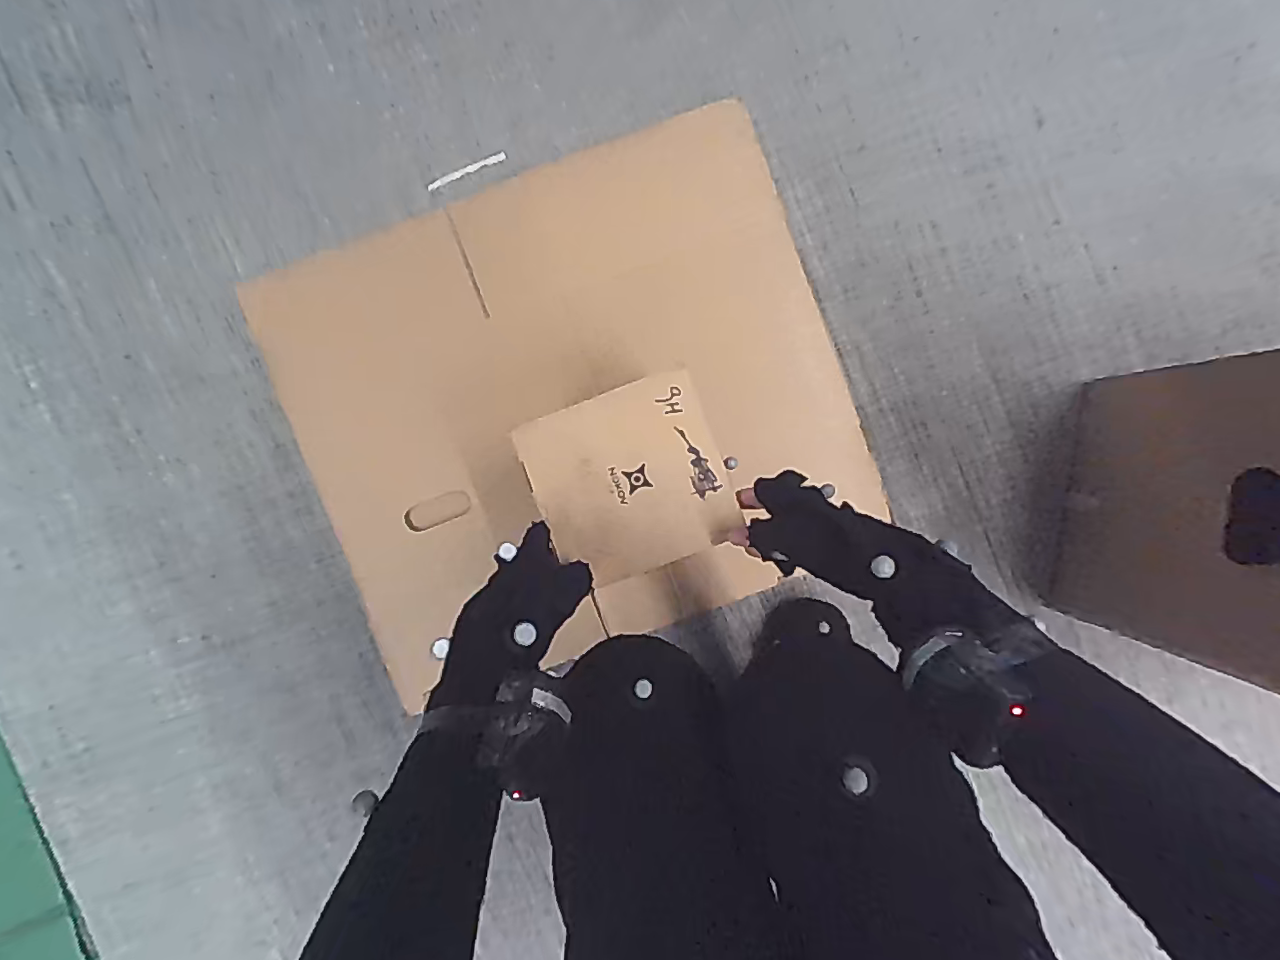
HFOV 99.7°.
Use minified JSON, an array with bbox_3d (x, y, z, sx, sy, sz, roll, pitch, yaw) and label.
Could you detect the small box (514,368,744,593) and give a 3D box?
[{"bbox_3d":[-0.007,0.004,0.586,0.179,0.176,0.168,-24,87,2],"label":"small box"}]
